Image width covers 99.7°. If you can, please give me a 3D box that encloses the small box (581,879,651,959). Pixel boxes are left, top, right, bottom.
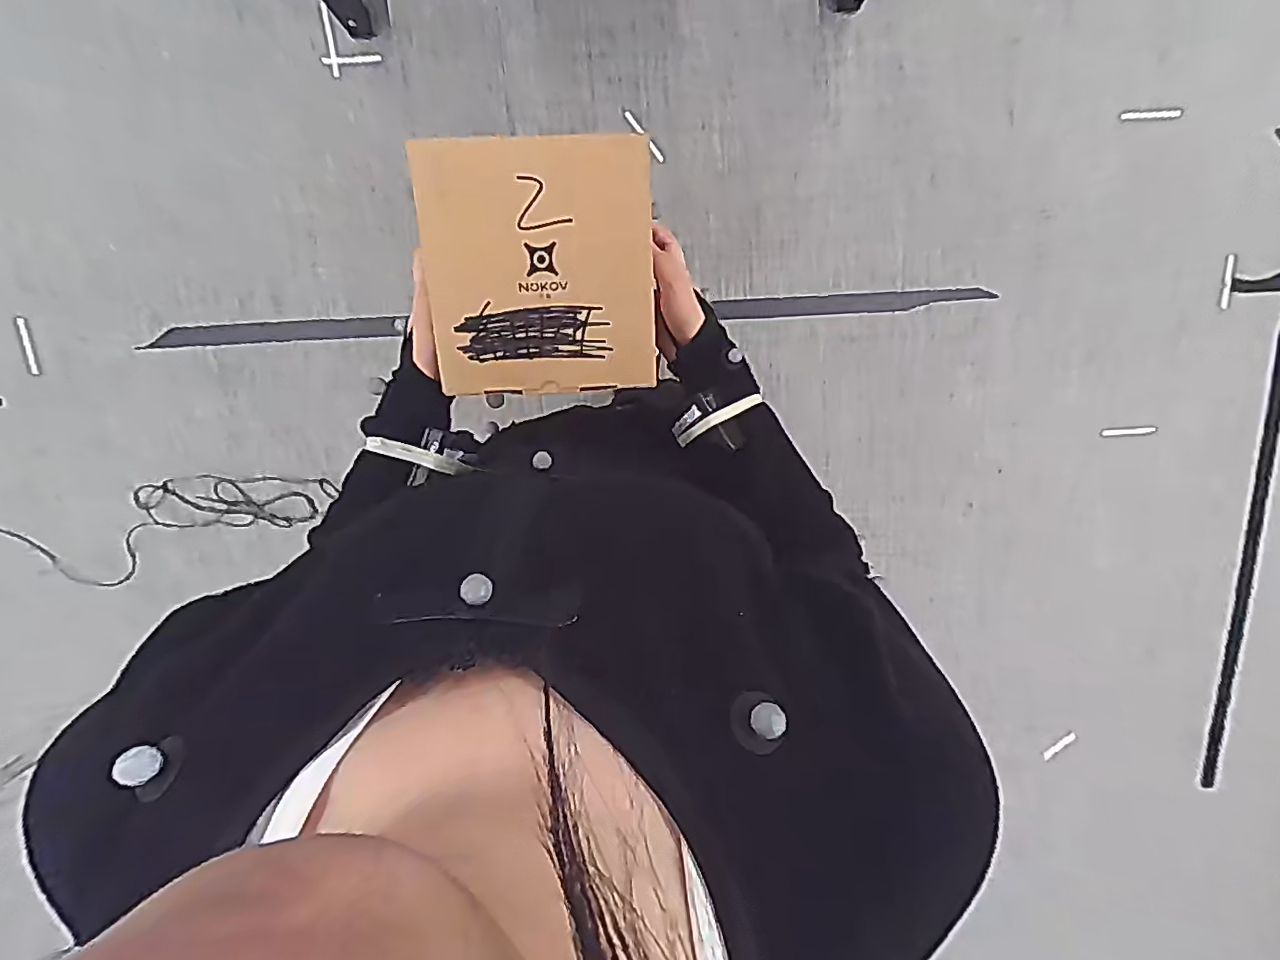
[{"bbox_3d":[-0.070,1.265,1.521,0.179,0.176,0.168,6,101,-5],"label":"small box"}]

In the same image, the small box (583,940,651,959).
[{"bbox_3d":[-0.060,1.306,1.364,0.179,0.176,0.168,3,101,-3],"label":"small box"}]

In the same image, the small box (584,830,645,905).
[{"bbox_3d":[-0.080,1.224,1.680,0.179,0.176,0.168,2,101,-4],"label":"small box"}]
